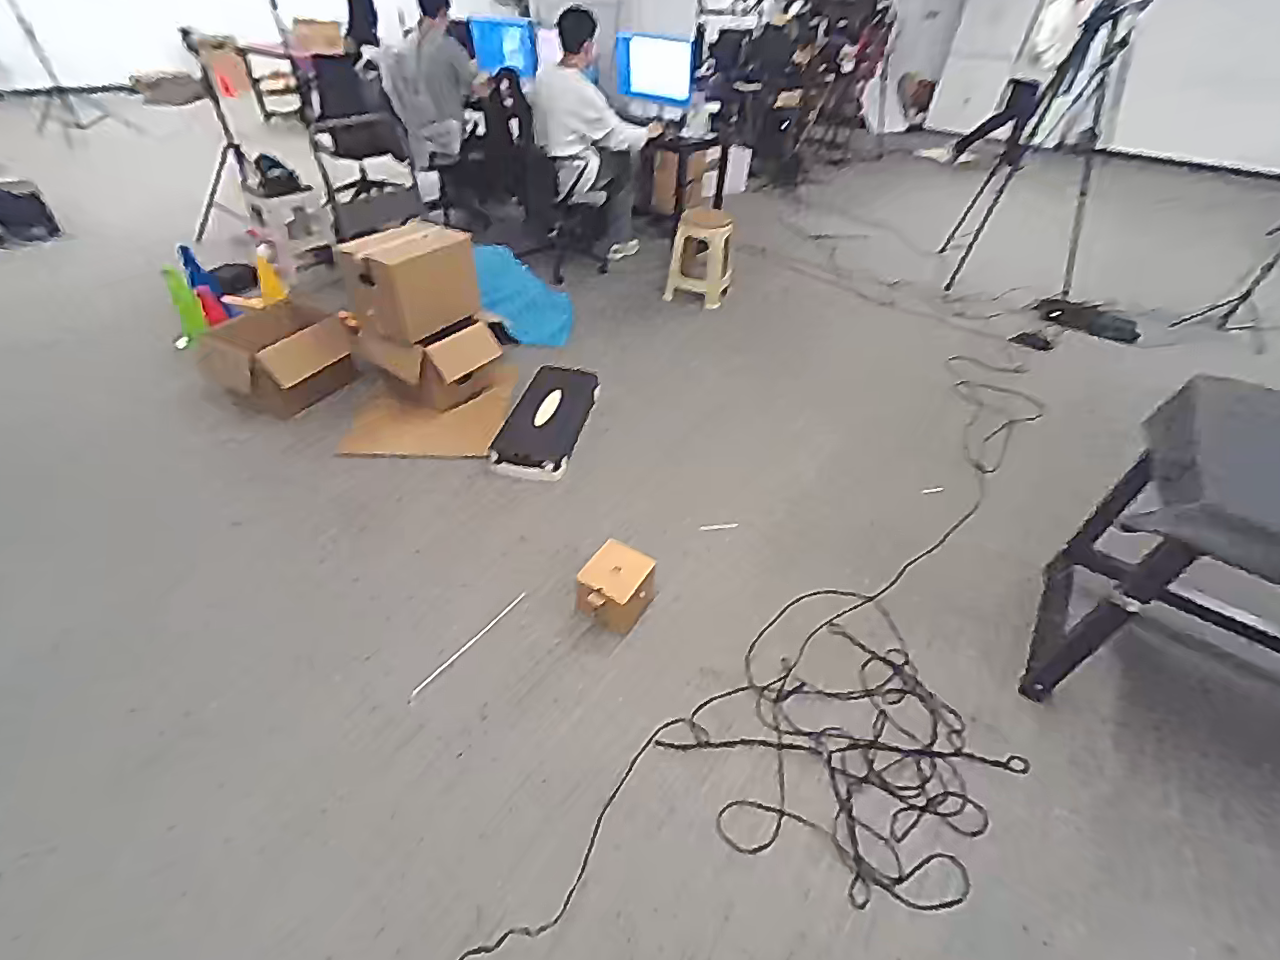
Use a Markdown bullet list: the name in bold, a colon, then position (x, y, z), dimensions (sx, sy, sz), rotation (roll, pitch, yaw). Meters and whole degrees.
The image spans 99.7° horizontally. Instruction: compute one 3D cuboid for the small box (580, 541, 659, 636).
- **small box**: position (-0.062, 0.316, 1.576), dimensions (0.168, 0.176, 0.179), rotation (24, 47, 21)
